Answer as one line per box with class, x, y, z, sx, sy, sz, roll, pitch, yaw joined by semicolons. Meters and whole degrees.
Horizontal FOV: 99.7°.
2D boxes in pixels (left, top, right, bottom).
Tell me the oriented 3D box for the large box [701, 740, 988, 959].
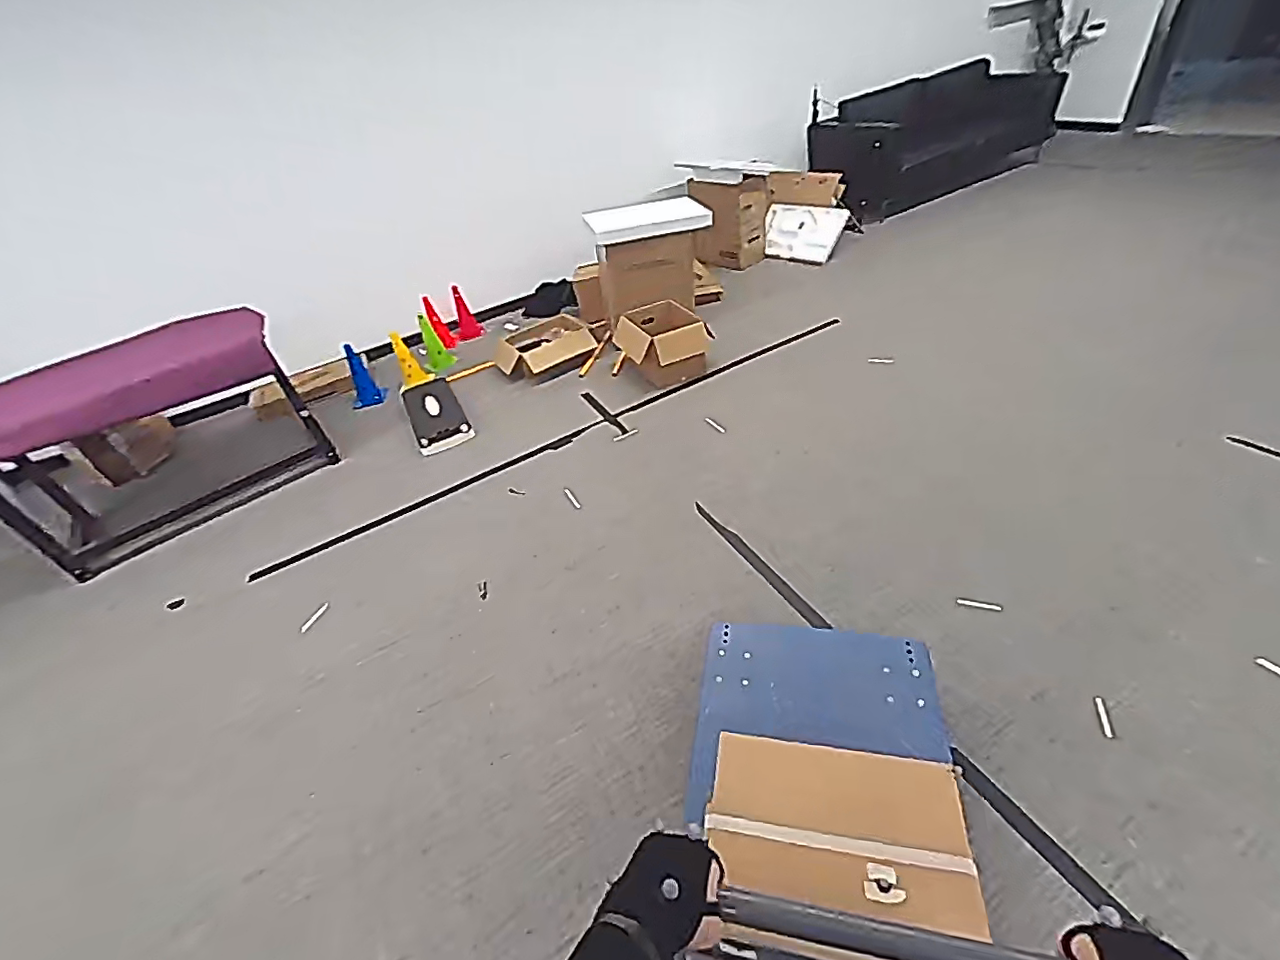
large box;0.328;0.711;0.963;0.408;0.320;0.320;3;41;14
